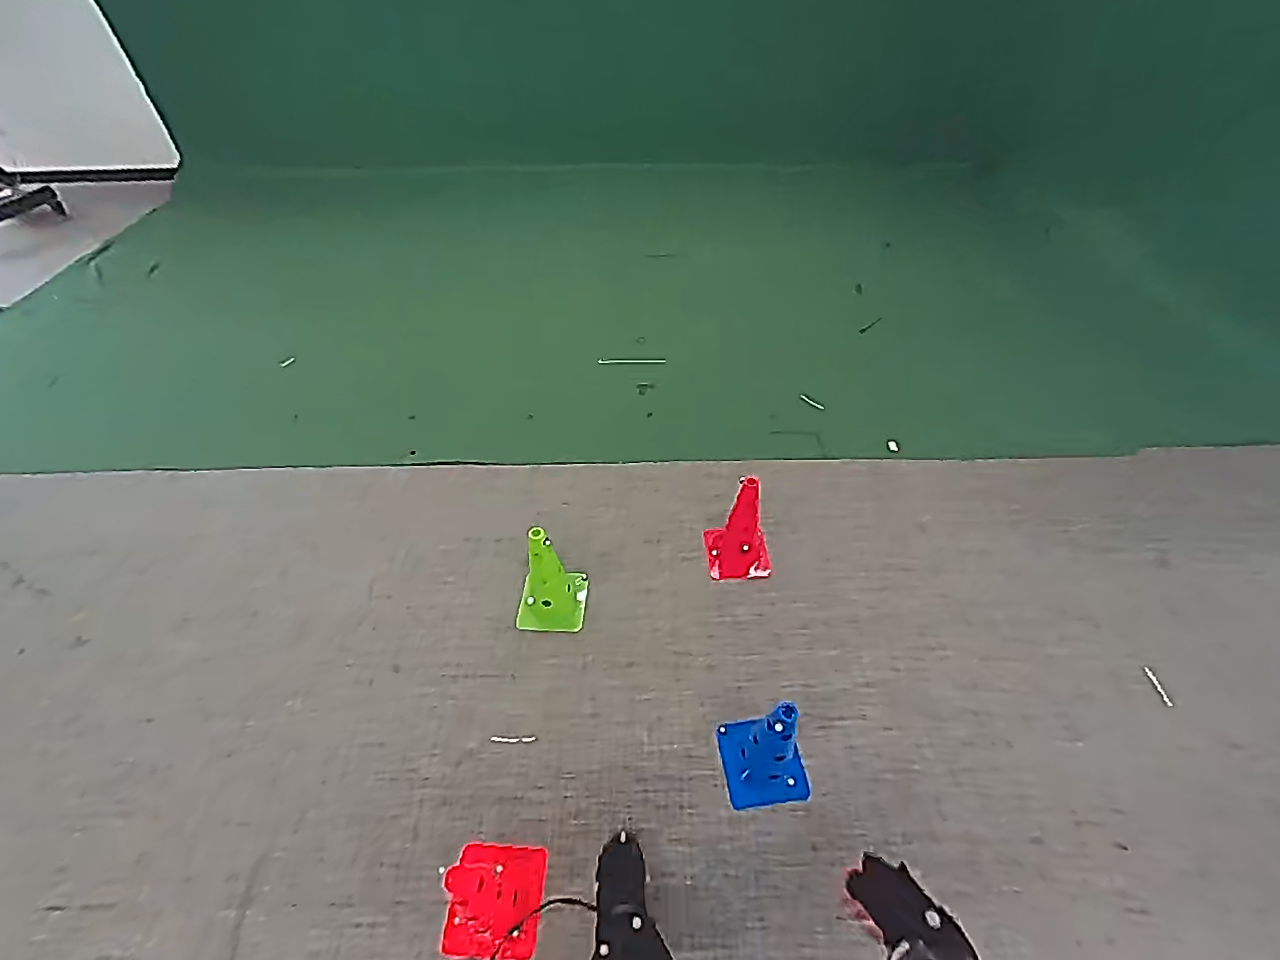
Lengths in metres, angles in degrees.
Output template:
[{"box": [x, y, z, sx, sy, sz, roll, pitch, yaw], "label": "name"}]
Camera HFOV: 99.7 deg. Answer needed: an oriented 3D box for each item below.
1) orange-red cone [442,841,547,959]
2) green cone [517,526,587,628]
[{"box": [-0.312, 0.794, 1.054, 0.198, 0.360, 0.199, 4, 46, 3], "label": "orange-red cone"}, {"box": [-0.272, 0.250, 1.542, 0.200, 0.368, 0.202, 1, 49, 2], "label": "green cone"}]
